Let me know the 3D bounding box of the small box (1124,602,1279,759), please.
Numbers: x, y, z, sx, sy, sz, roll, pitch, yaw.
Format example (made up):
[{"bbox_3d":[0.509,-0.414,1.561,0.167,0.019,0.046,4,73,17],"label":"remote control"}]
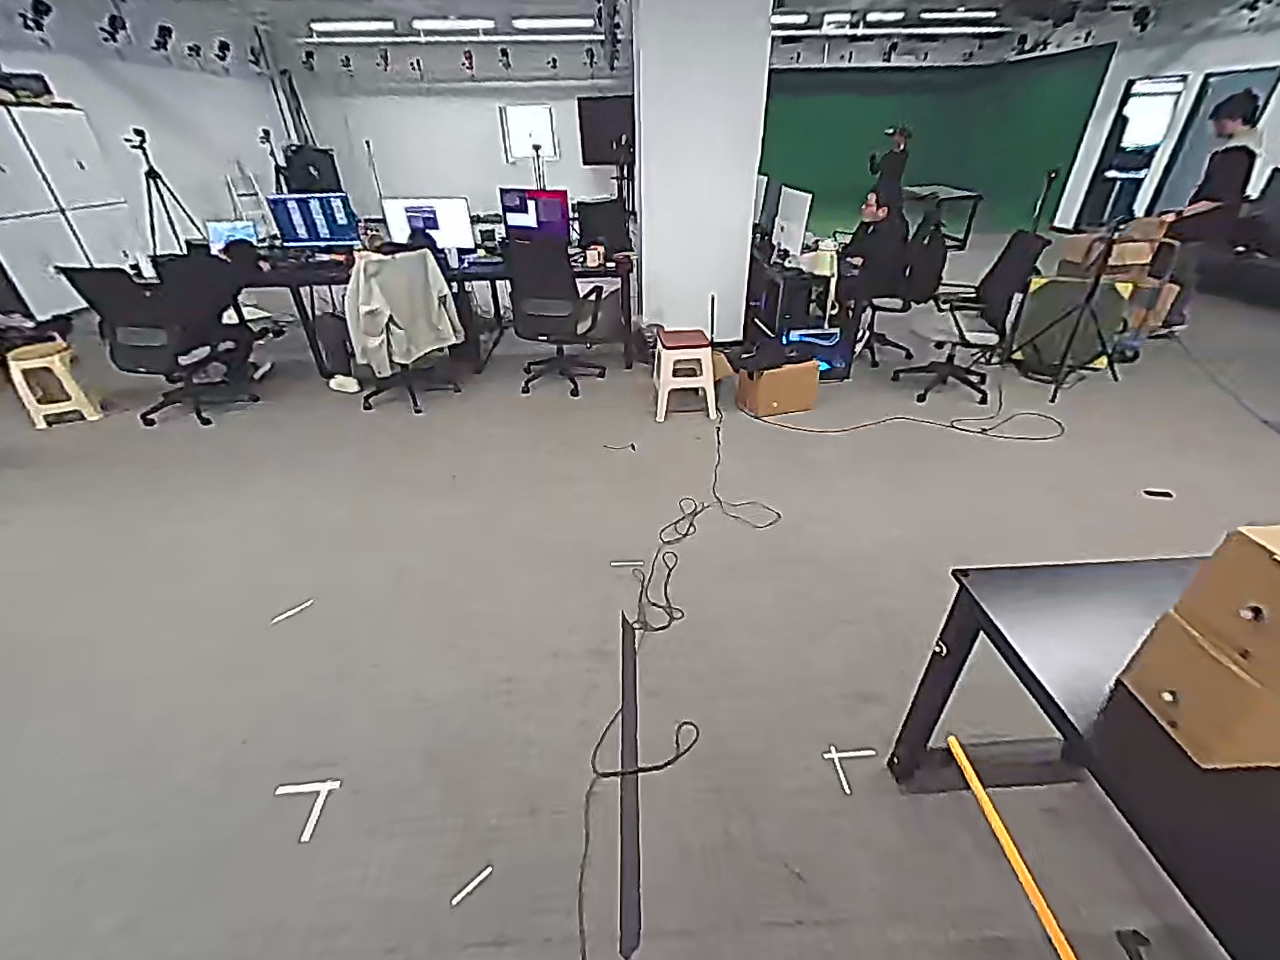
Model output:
[{"bbox_3d":[0.919,0.305,0.832,0.179,0.176,0.168,-2,32,0],"label":"small box"}]

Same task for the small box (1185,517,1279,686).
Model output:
[{"bbox_3d":[0.924,0.166,0.746,0.179,0.176,0.168,-4,33,-3],"label":"small box"}]
